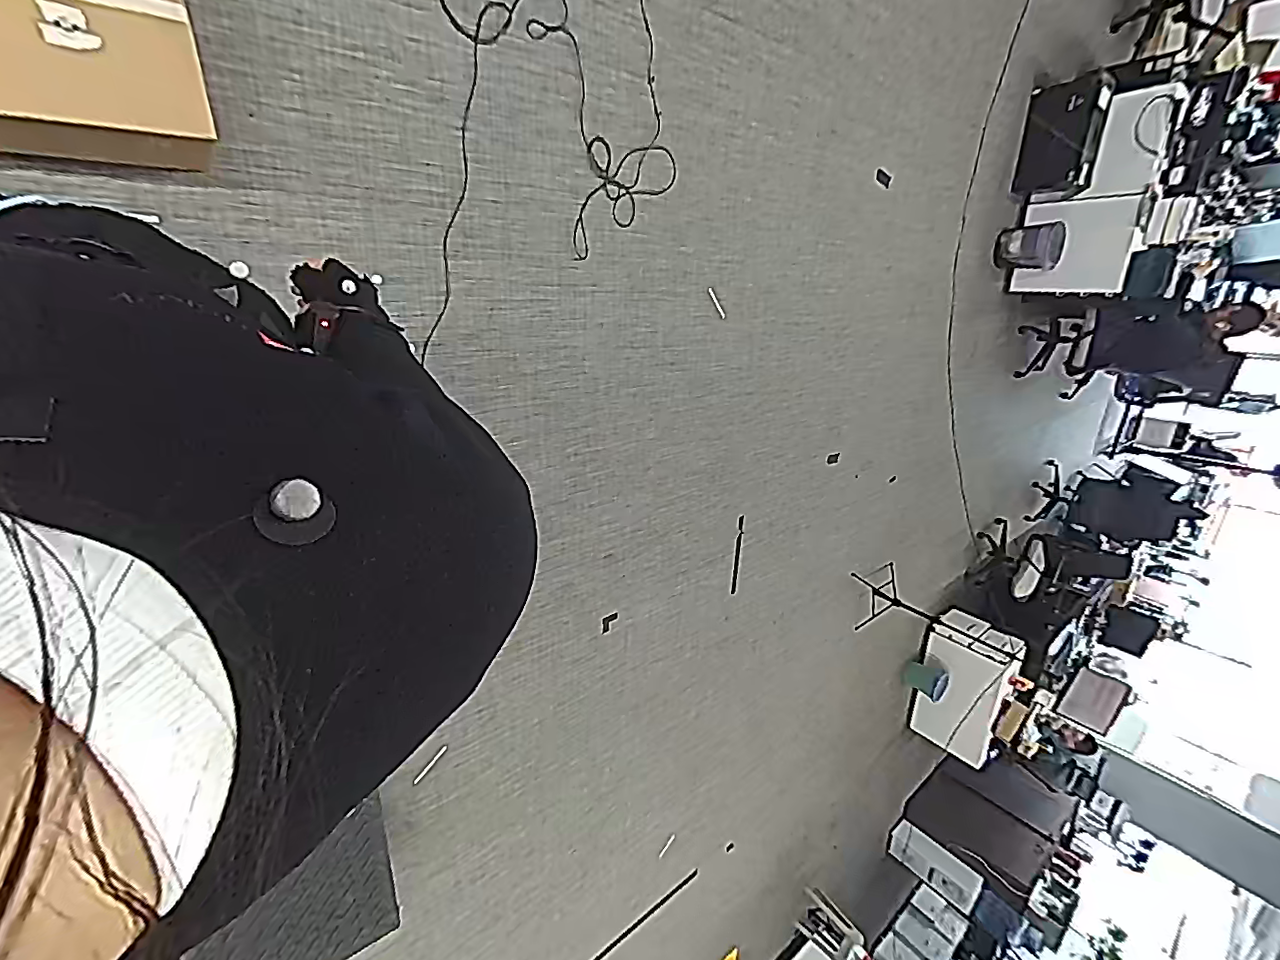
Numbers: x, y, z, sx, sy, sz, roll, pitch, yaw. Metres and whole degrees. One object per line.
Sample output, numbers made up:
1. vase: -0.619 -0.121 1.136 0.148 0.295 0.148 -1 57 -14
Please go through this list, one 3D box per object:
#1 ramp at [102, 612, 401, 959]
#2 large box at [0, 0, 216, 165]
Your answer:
1. ramp: -0.945 0.877 1.395 0.509 0.206 0.991 -13 113 -35
2. large box: -0.908 -0.670 0.779 0.408 0.320 0.320 -16 116 -36
